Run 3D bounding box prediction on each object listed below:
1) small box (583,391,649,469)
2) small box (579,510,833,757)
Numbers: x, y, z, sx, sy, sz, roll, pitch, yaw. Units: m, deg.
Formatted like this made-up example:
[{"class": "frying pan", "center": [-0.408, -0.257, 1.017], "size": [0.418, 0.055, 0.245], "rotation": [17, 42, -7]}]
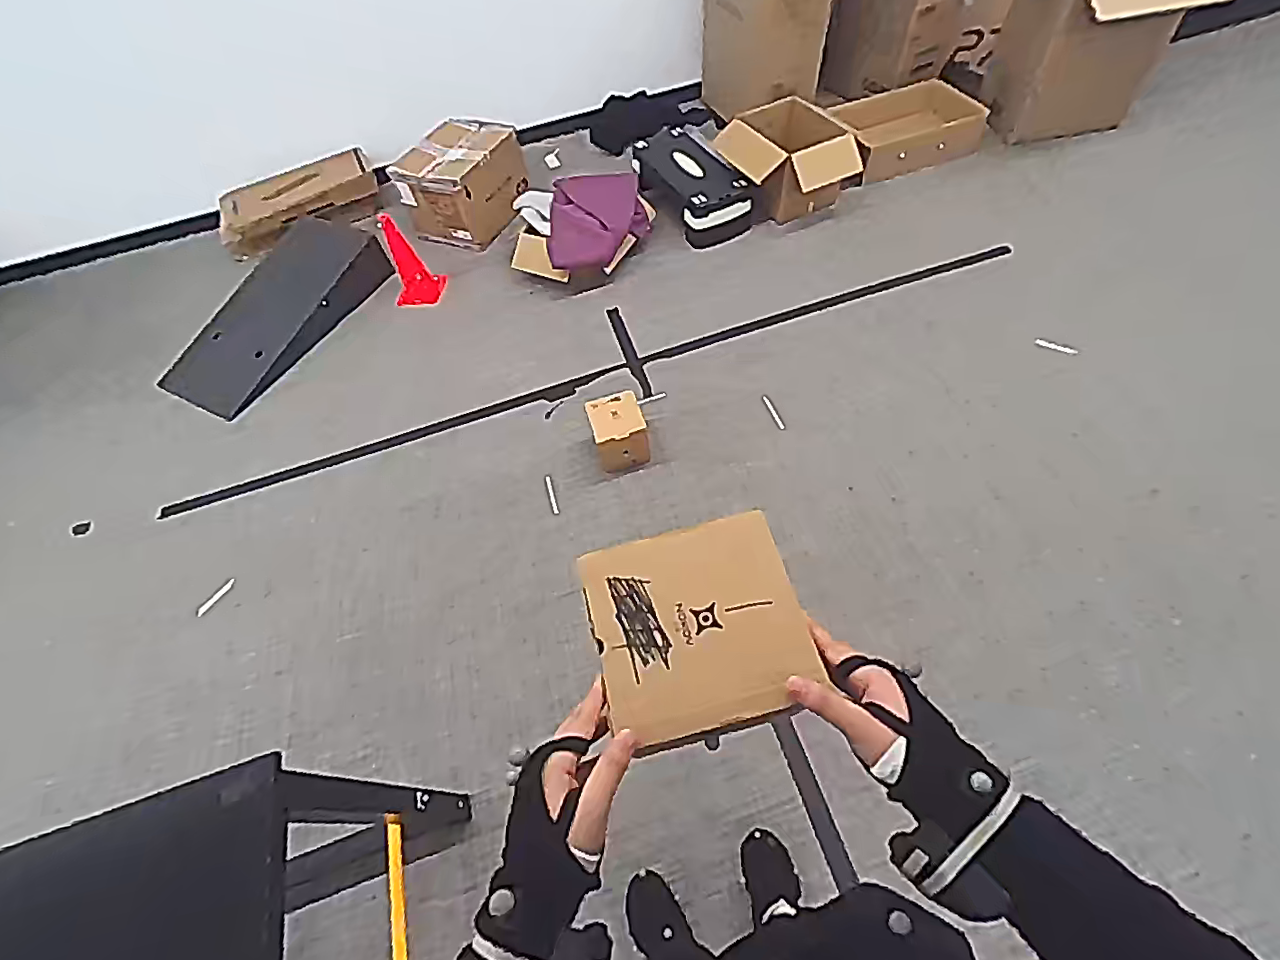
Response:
[{"class": "small box", "center": [-0.074, -0.154, 1.764], "size": [0.168, 0.176, 0.179], "rotation": [-17, 57, -3]}, {"class": "small box", "center": [0.054, 0.153, 0.513], "size": [0.179, 0.176, 0.168], "rotation": [-14, 61, -3]}]
